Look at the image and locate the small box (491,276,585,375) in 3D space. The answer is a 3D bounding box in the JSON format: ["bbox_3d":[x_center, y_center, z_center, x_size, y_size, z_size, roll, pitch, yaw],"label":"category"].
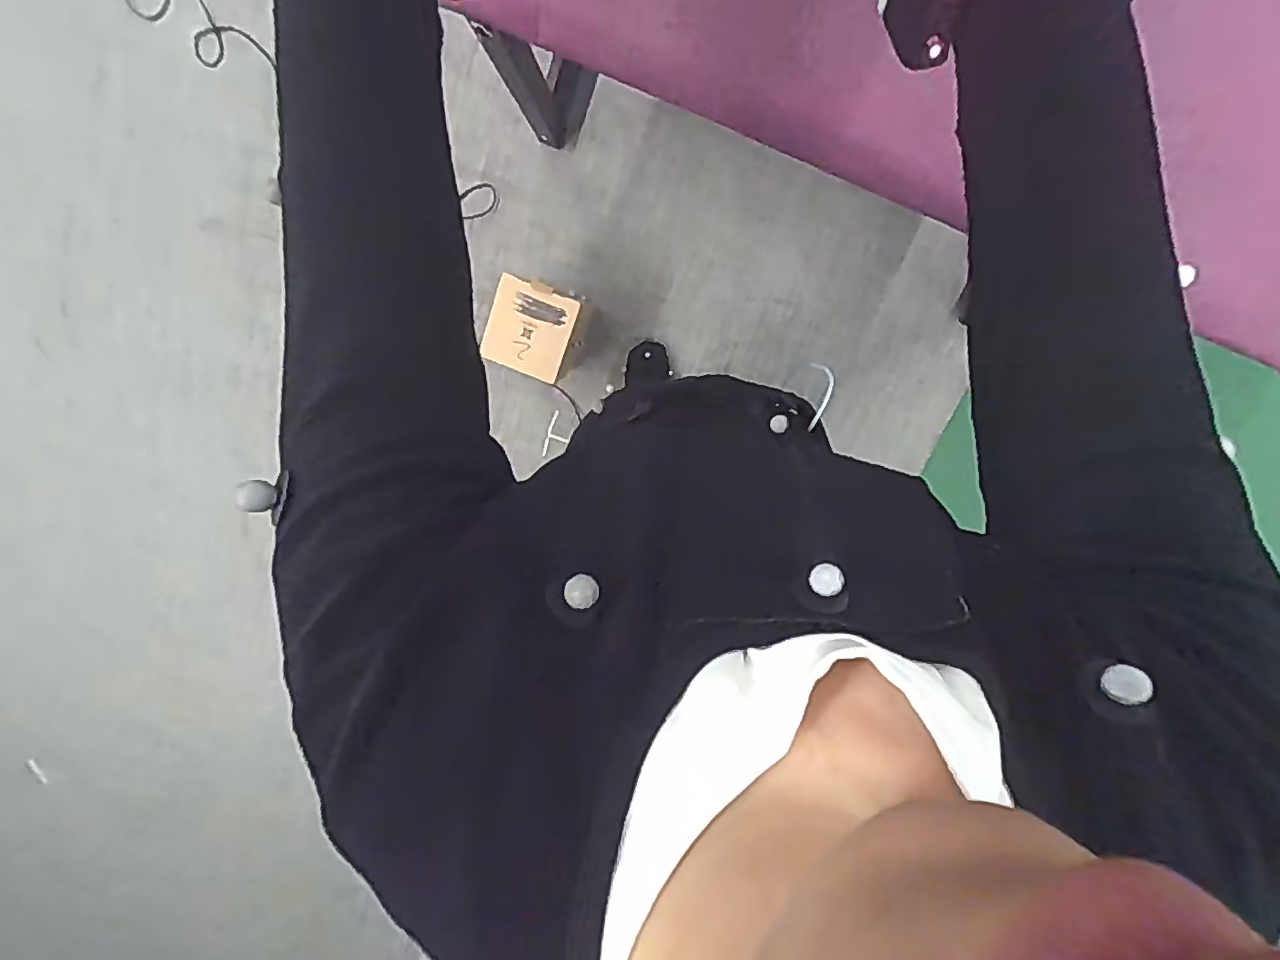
[{"bbox_3d":[-0.240,-0.374,1.317,0.168,0.176,0.179,22,106,-5],"label":"small box"}]
